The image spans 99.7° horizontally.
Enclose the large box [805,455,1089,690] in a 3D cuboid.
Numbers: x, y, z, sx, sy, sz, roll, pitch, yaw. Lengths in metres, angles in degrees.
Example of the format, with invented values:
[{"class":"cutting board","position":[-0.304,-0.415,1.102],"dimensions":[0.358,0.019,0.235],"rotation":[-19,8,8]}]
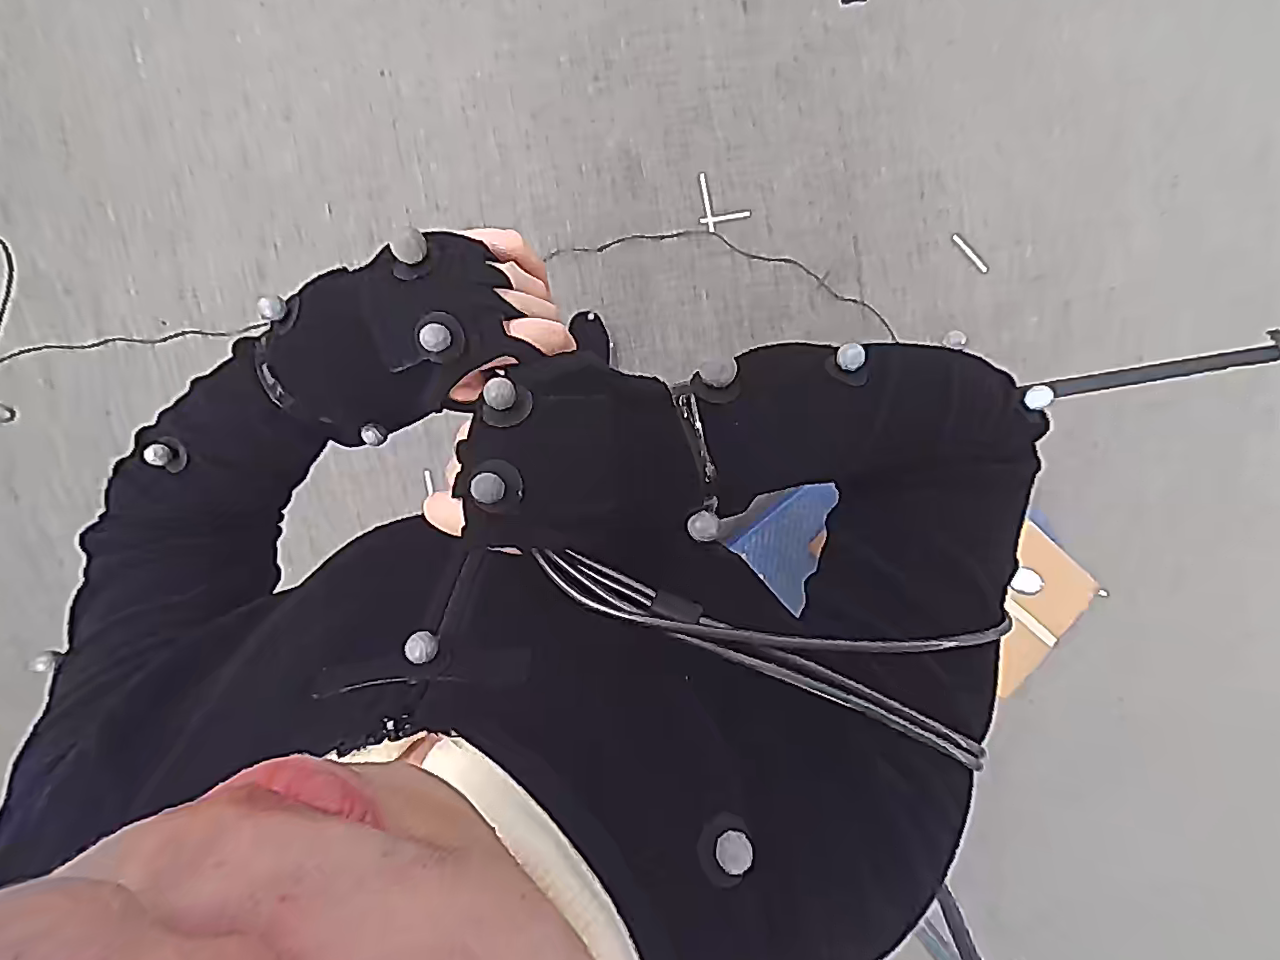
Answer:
[{"class":"large box","position":[0.670,0.185,1.241],"dimensions":[0.408,0.320,0.320],"rotation":[40,92,-8]}]
